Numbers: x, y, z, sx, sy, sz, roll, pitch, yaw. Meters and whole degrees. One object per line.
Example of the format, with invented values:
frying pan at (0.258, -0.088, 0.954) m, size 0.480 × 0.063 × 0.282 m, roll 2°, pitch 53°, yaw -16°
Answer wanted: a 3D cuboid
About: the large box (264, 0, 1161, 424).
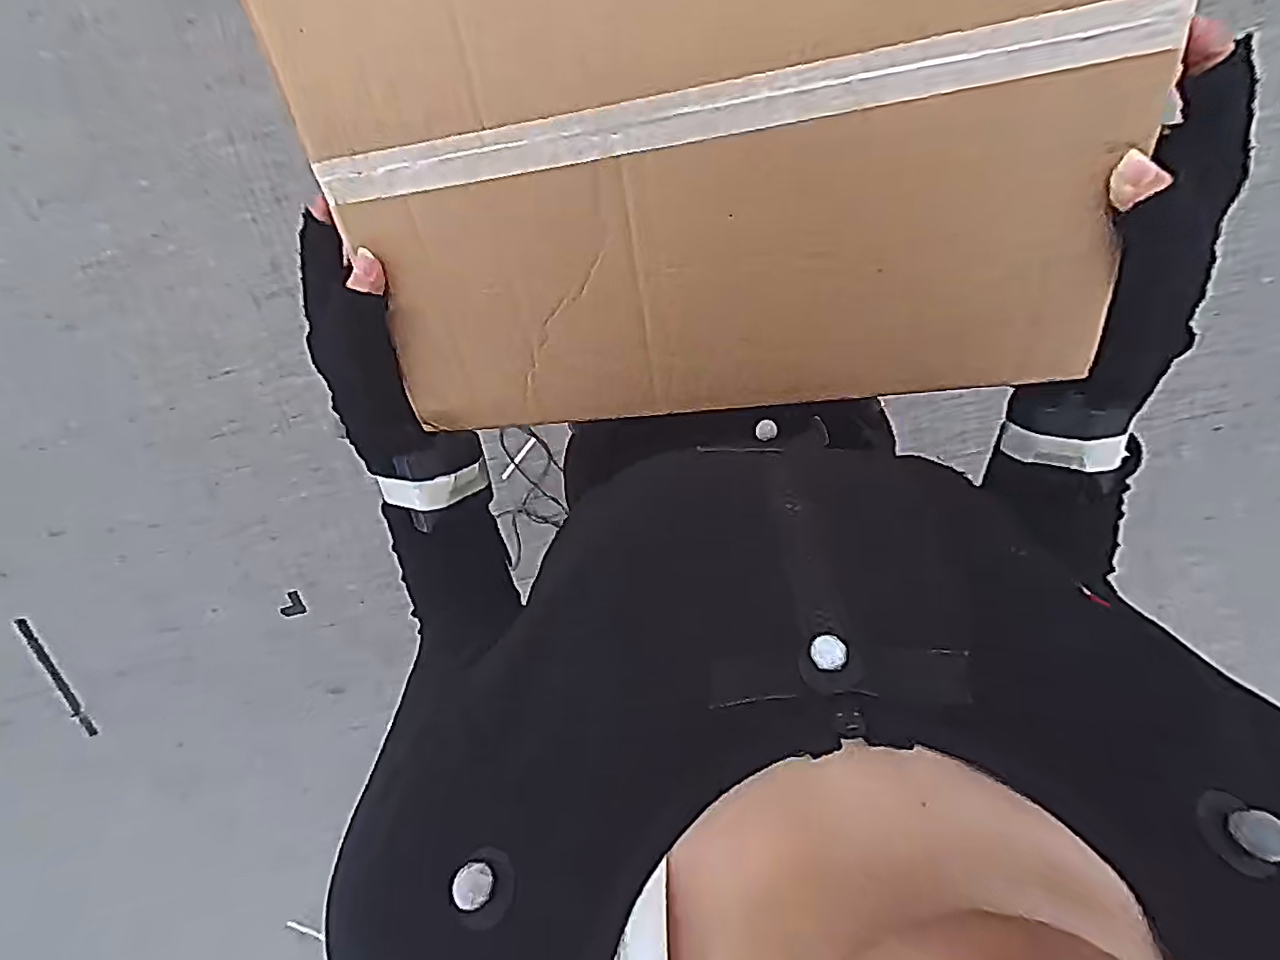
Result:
large box at (0.044, -0.262, 0.388) m, size 0.408 × 0.320 × 0.320 m, roll -3°, pitch 122°, yaw 11°
